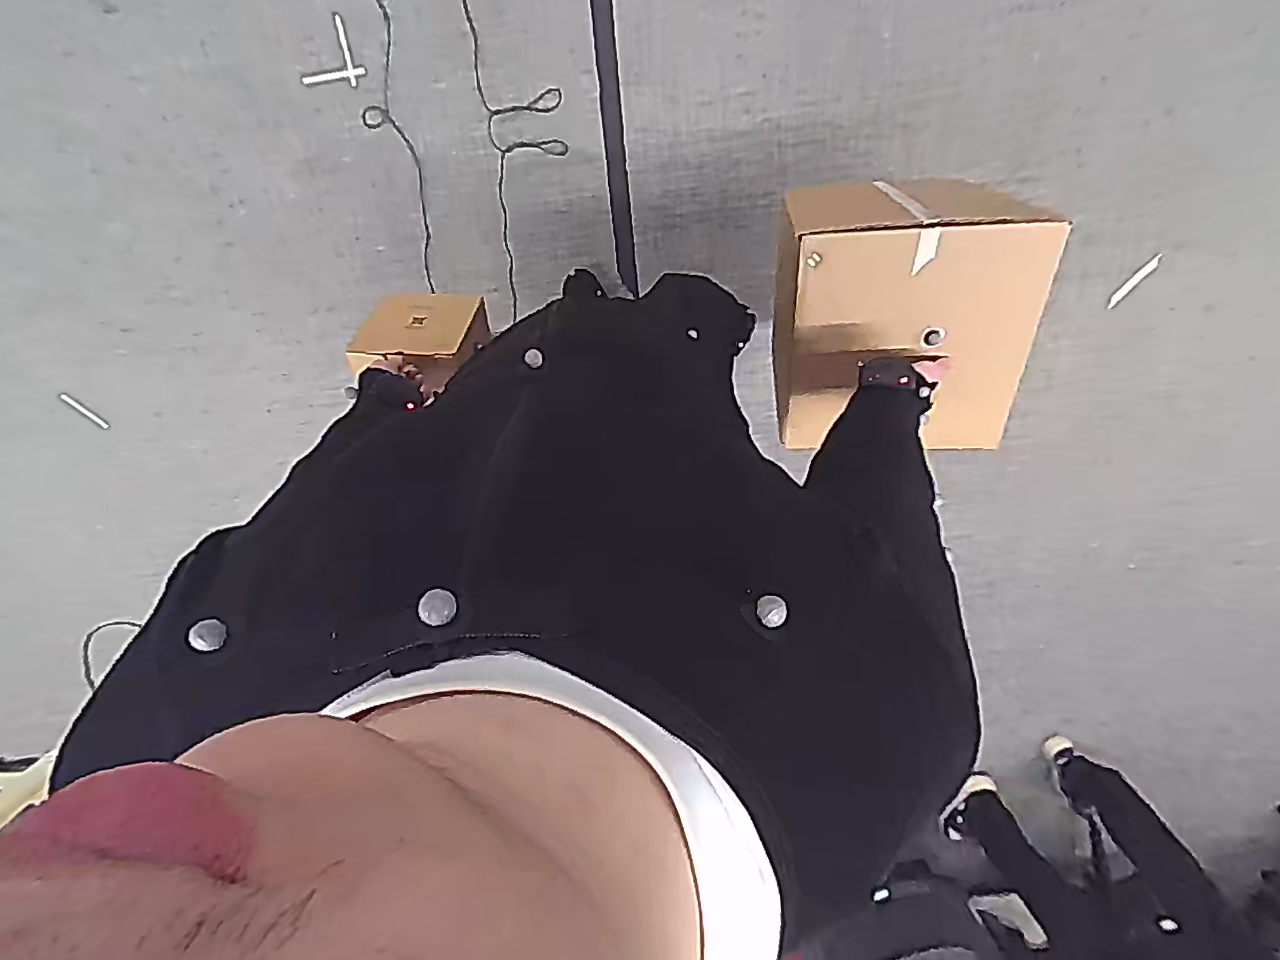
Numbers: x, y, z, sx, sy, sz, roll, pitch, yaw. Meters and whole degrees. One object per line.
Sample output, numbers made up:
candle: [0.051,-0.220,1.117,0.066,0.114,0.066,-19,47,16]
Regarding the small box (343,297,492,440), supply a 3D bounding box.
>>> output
small box: [-0.355,-0.183,0.903,0.168,0.179,0.176,3,137,-1]
